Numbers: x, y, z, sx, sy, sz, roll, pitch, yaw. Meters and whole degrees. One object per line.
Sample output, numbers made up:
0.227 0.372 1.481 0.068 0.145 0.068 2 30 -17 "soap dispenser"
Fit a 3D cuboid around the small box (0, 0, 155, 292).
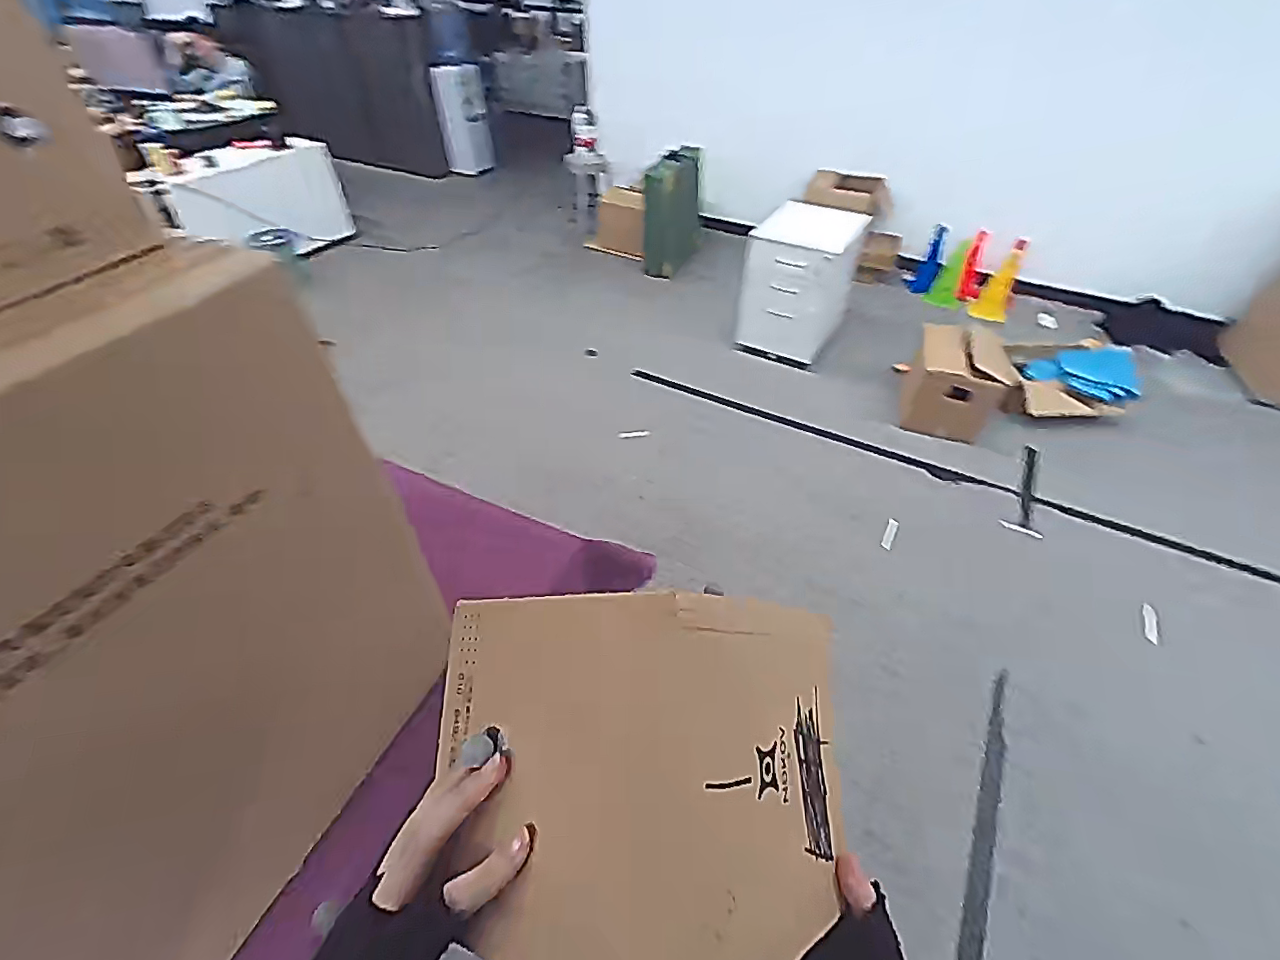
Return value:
-0.476 -0.217 0.337 0.179 0.176 0.168 17 47 16 "small box"
